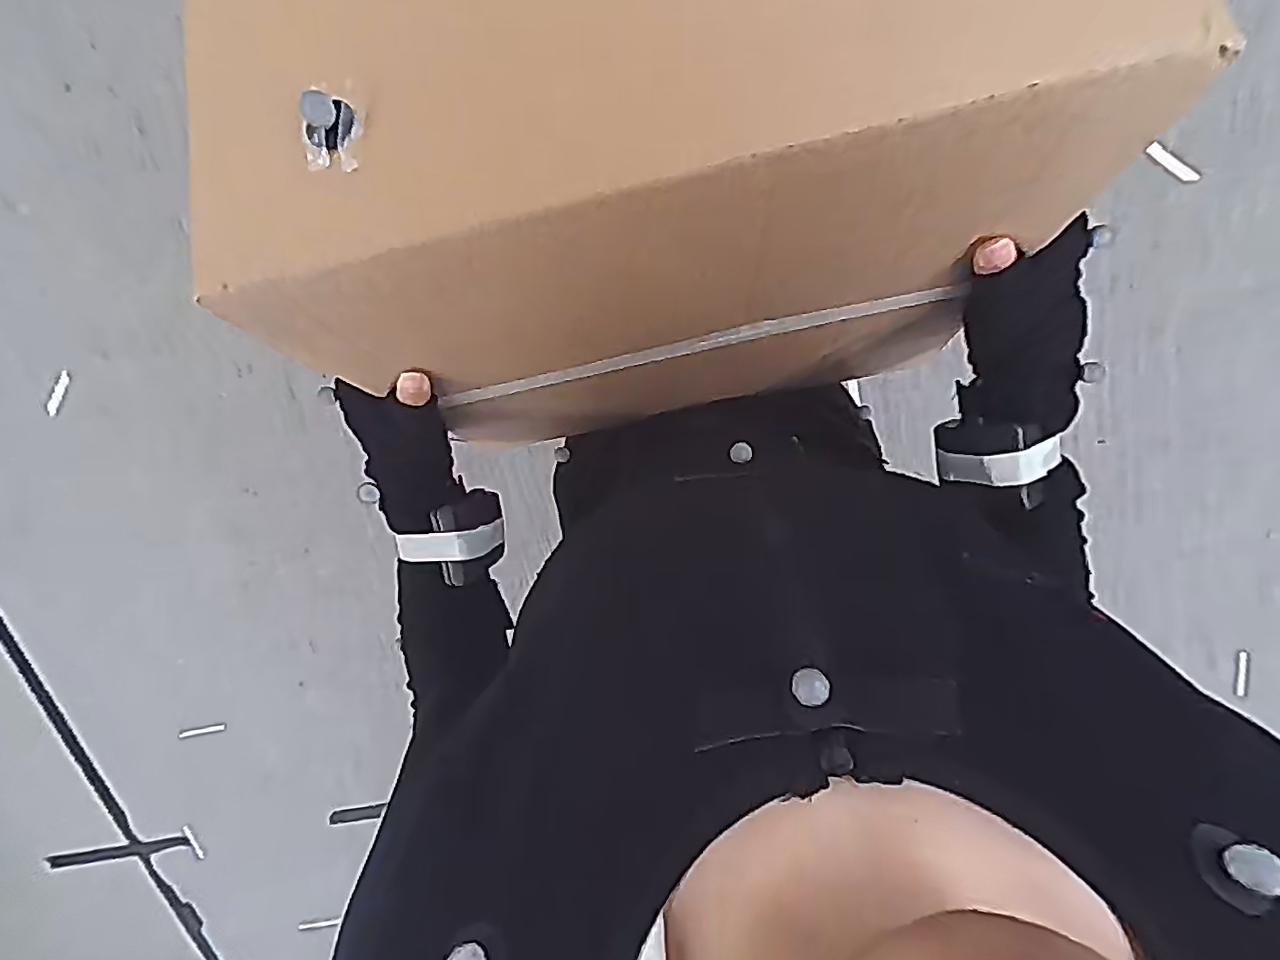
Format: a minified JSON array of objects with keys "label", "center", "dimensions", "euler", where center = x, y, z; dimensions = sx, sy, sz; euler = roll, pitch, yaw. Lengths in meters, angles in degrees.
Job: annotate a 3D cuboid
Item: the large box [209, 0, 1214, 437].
[{"label":"large box","center":[0.004,-0.248,0.383],"dimensions":[0.408,0.320,0.320],"euler":[-11,81,5]}]
